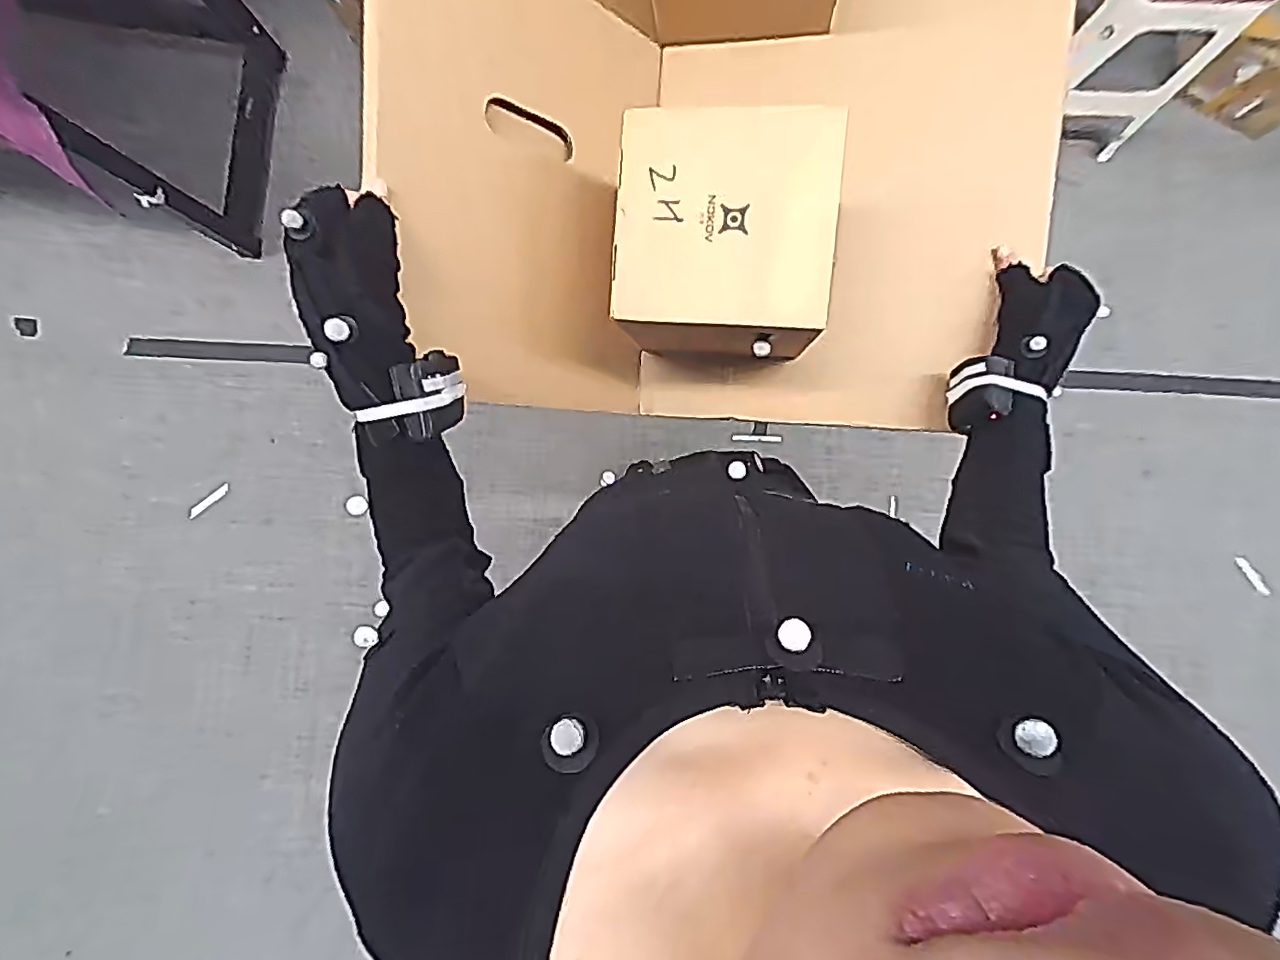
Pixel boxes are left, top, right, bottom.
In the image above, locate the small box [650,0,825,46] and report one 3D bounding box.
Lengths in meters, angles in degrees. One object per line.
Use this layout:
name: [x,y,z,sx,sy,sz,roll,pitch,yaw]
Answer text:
small box: [0.093,-0.534,0.487,0.179,0.176,0.168,3,95,8]
